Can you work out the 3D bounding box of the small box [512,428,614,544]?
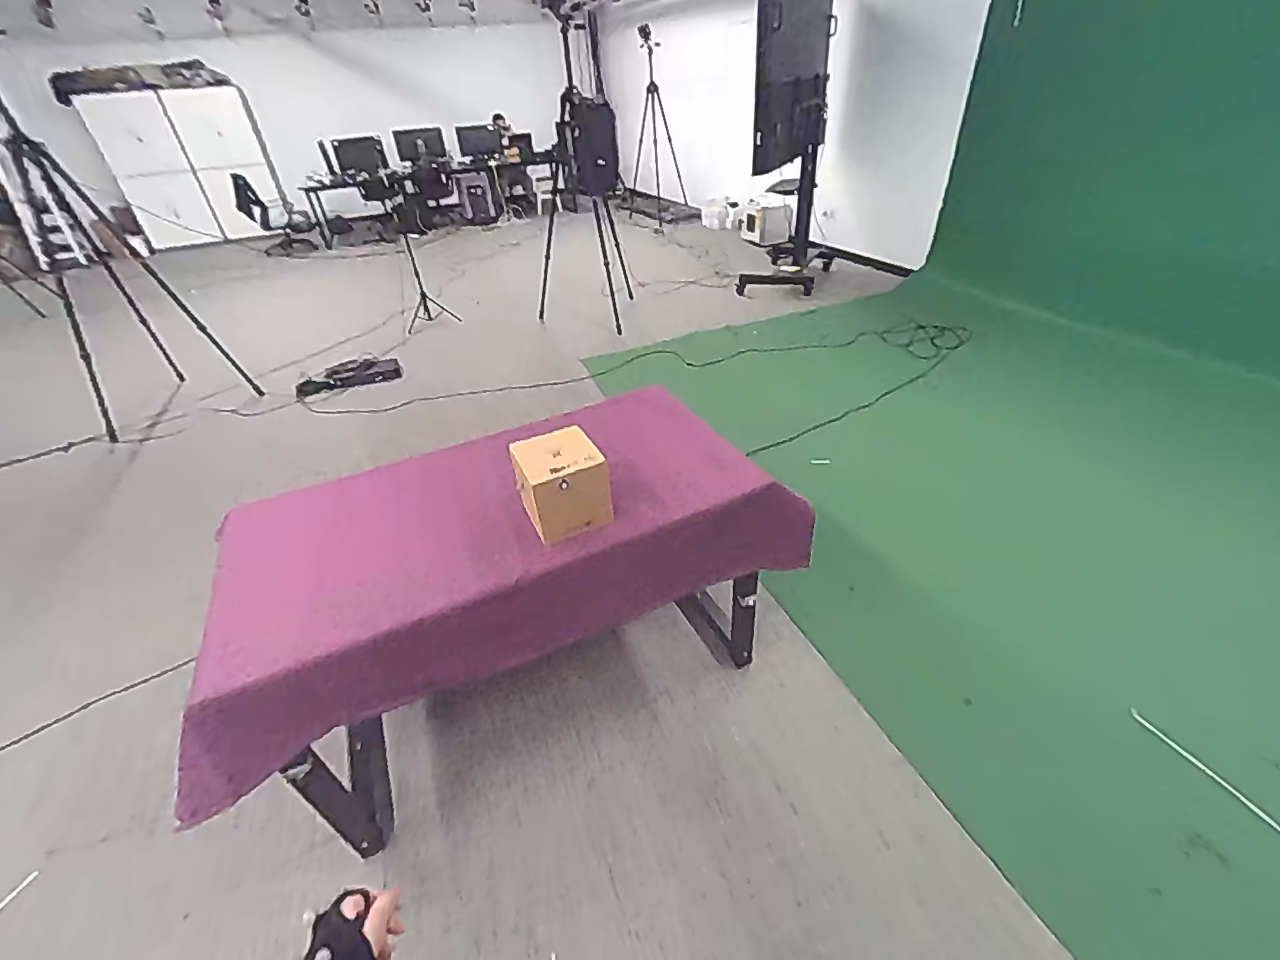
[{"bbox_3d":[-0.170,0.012,1.201,0.168,0.176,0.179,-20,38,-18],"label":"small box"}]
